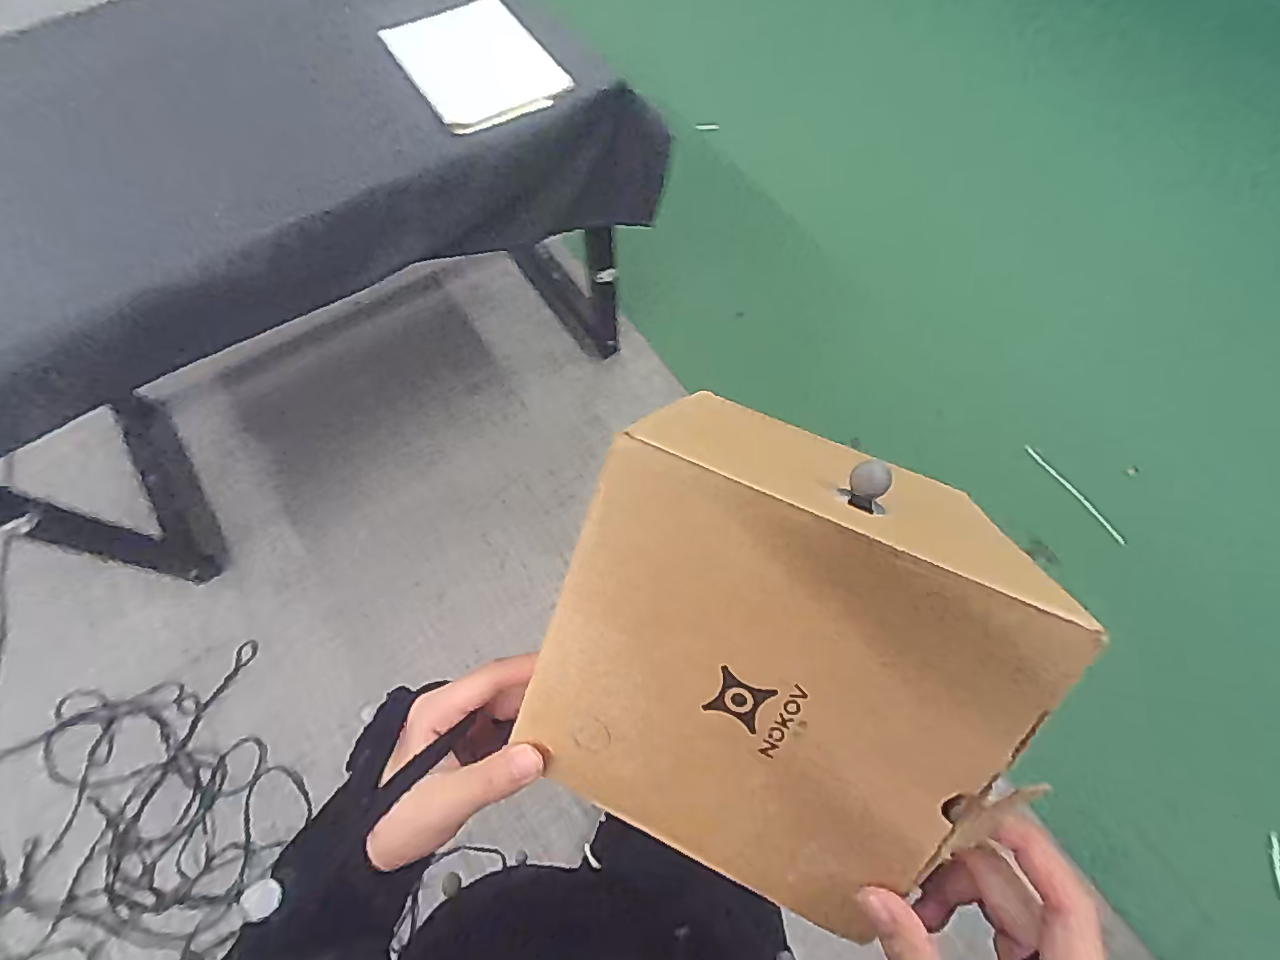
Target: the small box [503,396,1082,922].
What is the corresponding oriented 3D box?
[{"bbox_3d":[0.060,0.061,0.288,0.179,0.176,0.168,23,108,8],"label":"small box"}]
